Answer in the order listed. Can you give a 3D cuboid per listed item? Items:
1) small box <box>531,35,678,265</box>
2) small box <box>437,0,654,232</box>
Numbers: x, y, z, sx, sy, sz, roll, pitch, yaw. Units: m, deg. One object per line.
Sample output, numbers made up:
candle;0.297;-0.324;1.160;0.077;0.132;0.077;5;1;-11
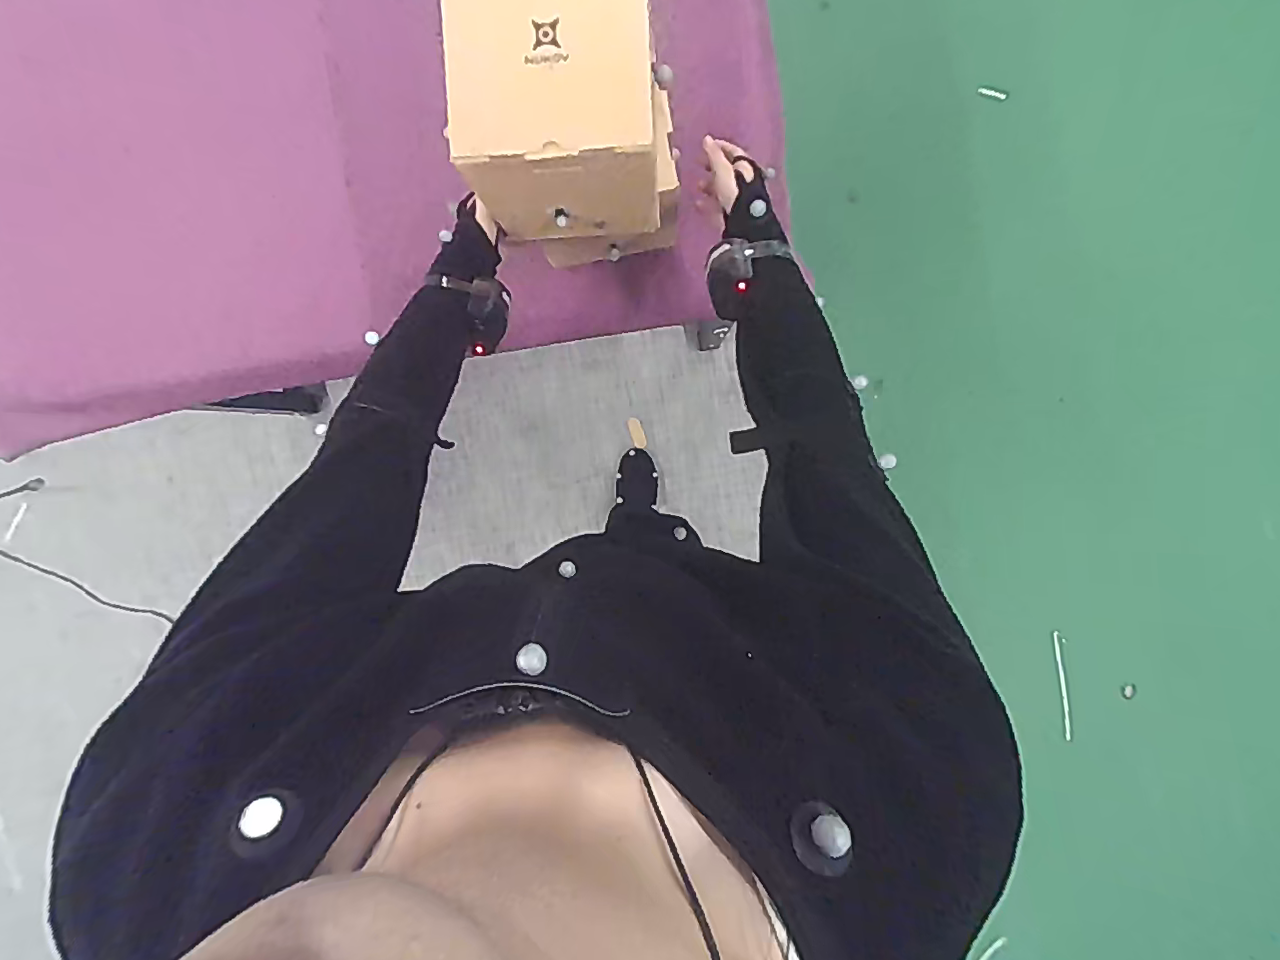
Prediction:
small box;-0.055;-0.384;0.659;0.179;0.176;0.168;-10;92;3
small box;-0.073;-0.353;0.498;0.168;0.176;0.179;-2;94;3
